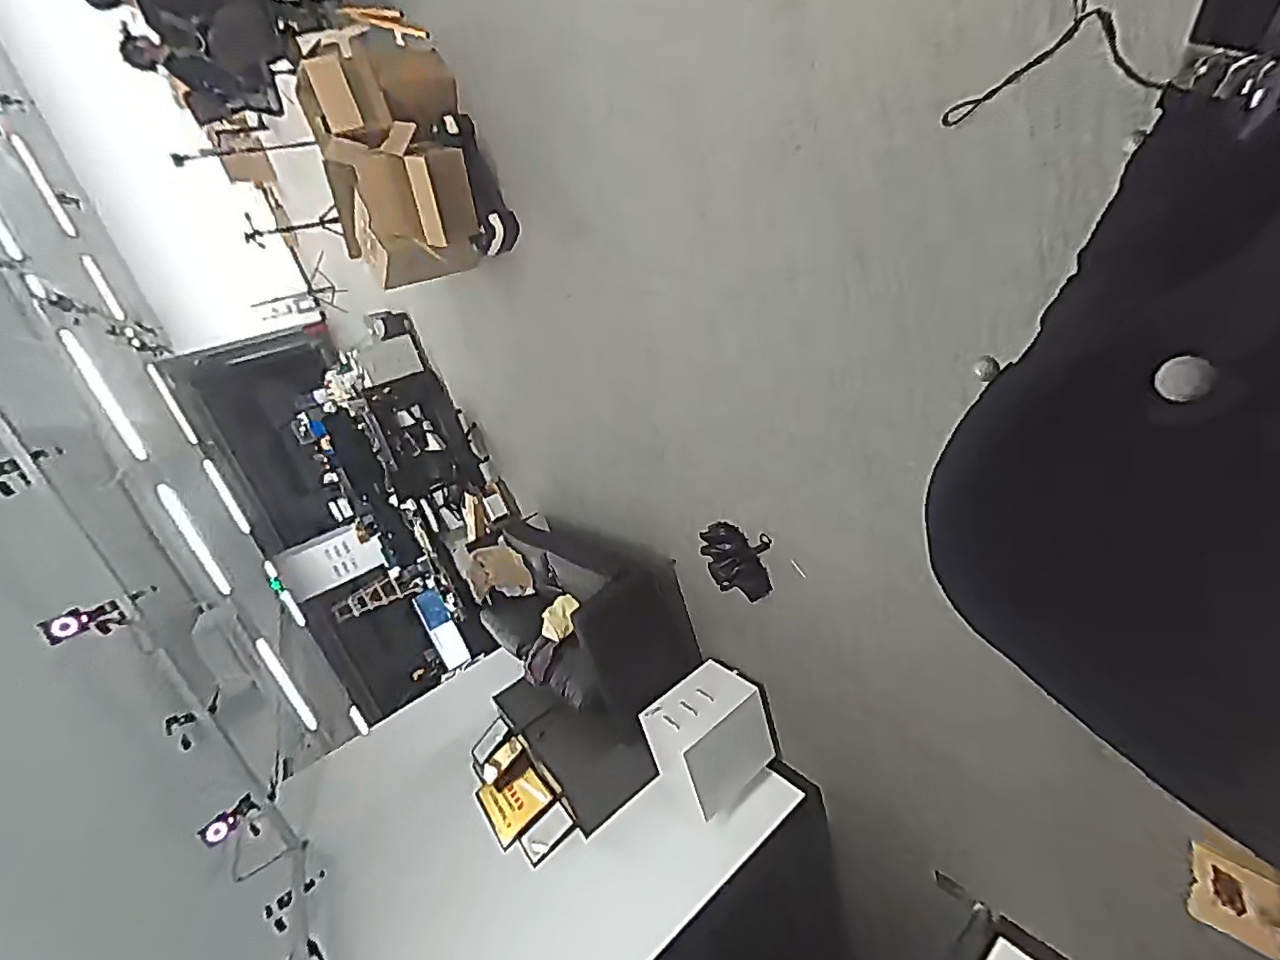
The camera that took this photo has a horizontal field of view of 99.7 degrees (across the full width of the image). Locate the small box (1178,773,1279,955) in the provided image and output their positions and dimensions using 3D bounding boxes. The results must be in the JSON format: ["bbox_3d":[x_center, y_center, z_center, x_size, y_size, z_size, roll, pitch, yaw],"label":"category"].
[{"bbox_3d":[0.982,0.595,0.836,0.179,0.176,0.168,9,121,58],"label":"small box"}]
